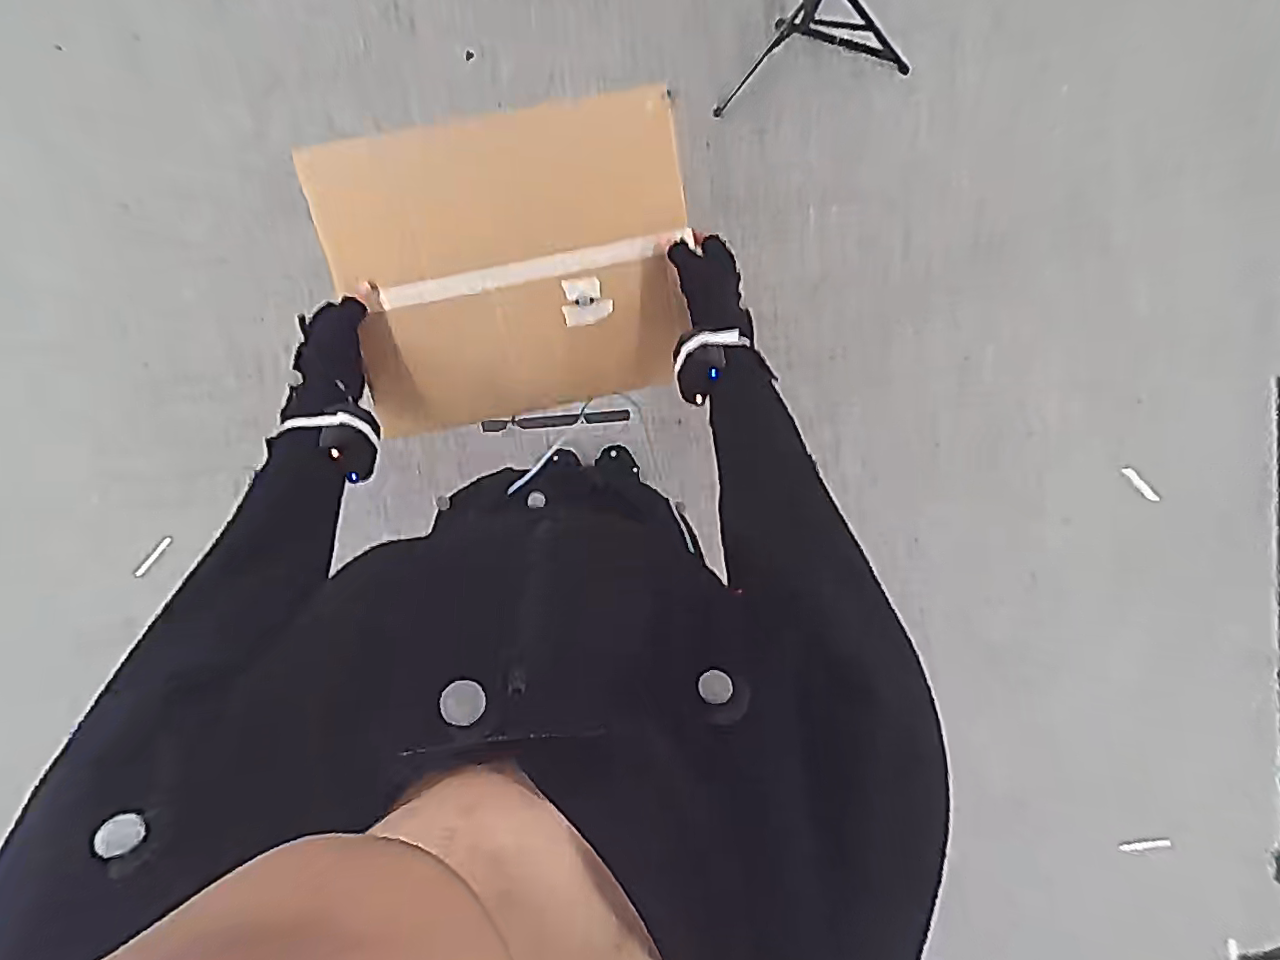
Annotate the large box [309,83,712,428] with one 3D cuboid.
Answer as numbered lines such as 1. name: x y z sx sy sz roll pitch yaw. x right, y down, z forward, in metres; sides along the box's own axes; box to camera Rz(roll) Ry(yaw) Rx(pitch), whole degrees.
1. large box: -0.148 -0.284 0.763 0.408 0.320 0.320 -12 107 -3
